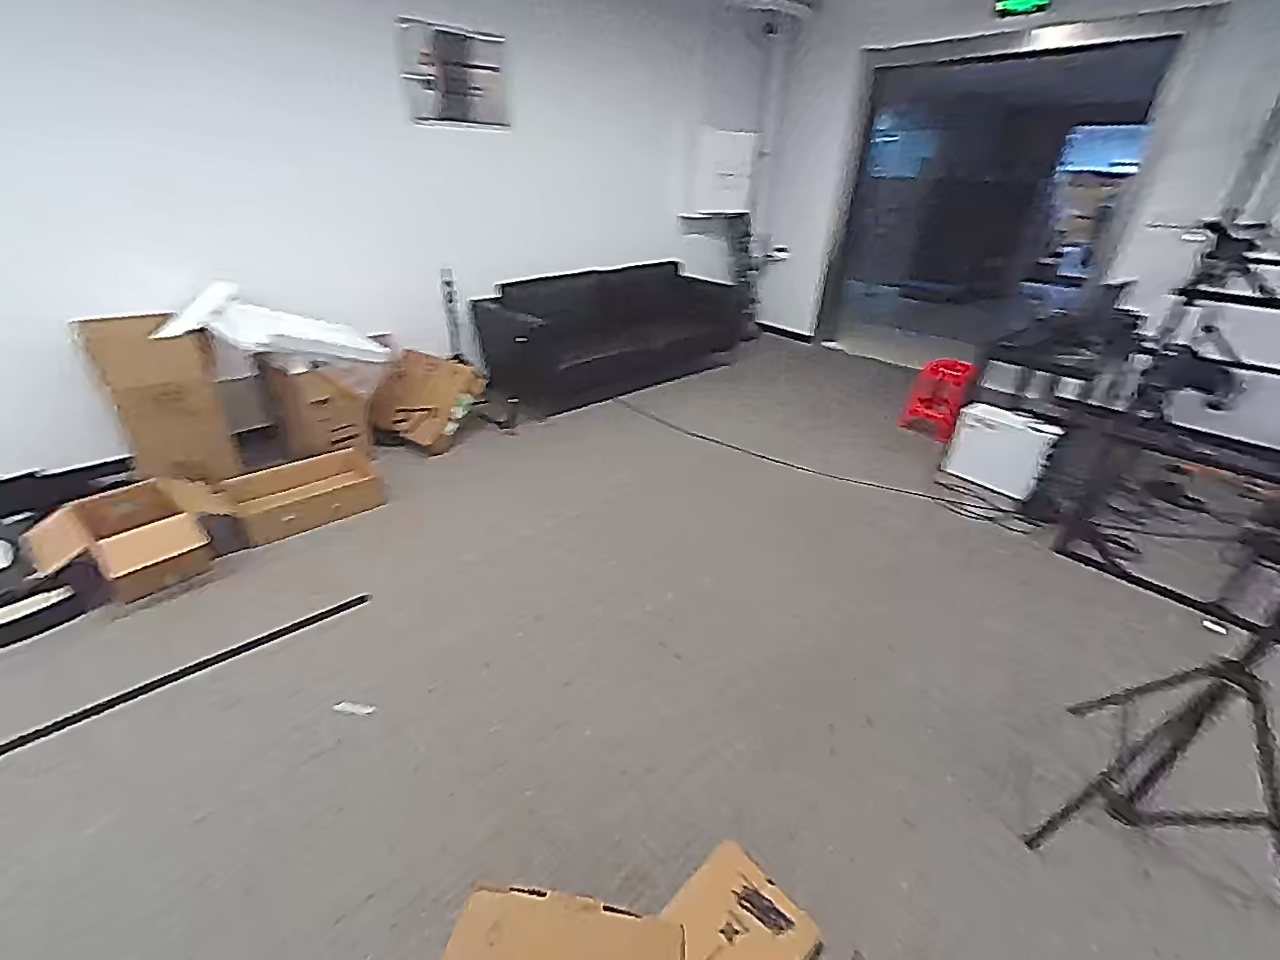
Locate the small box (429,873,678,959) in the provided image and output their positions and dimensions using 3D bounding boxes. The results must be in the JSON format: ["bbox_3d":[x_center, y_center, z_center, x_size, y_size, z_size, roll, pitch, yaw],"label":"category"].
[{"bbox_3d":[-0.067,0.415,0.362,0.168,0.176,0.179,3,29,10],"label":"small box"}]
